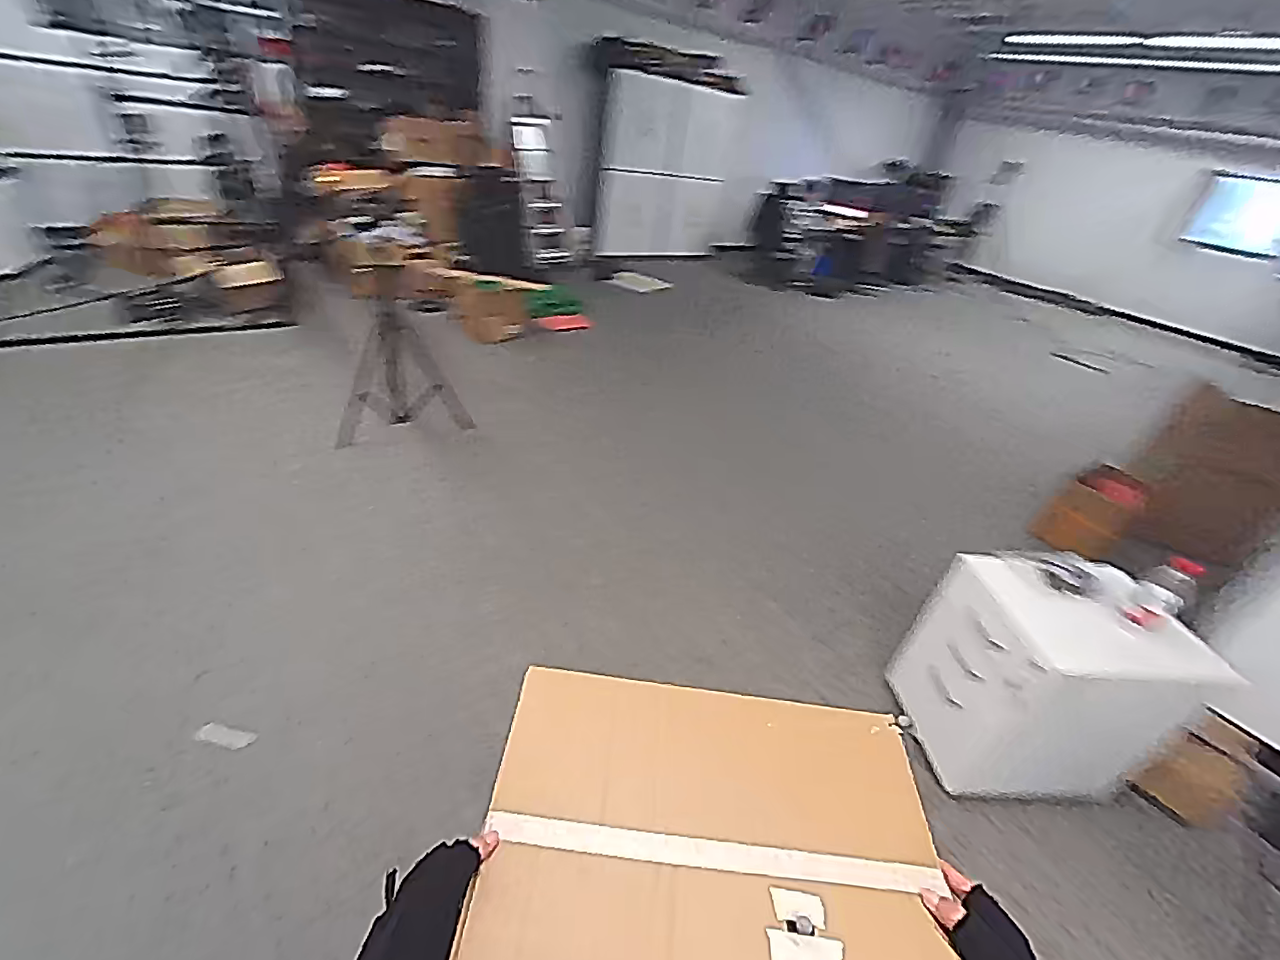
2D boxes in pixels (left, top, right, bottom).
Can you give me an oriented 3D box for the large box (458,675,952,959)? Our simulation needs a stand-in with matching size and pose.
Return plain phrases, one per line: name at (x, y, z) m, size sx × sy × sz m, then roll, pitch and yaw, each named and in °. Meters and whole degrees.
large box at (0.043, 0.447, 0.574) m, size 0.408 × 0.320 × 0.320 m, roll 8°, pitch 39°, yaw -2°
